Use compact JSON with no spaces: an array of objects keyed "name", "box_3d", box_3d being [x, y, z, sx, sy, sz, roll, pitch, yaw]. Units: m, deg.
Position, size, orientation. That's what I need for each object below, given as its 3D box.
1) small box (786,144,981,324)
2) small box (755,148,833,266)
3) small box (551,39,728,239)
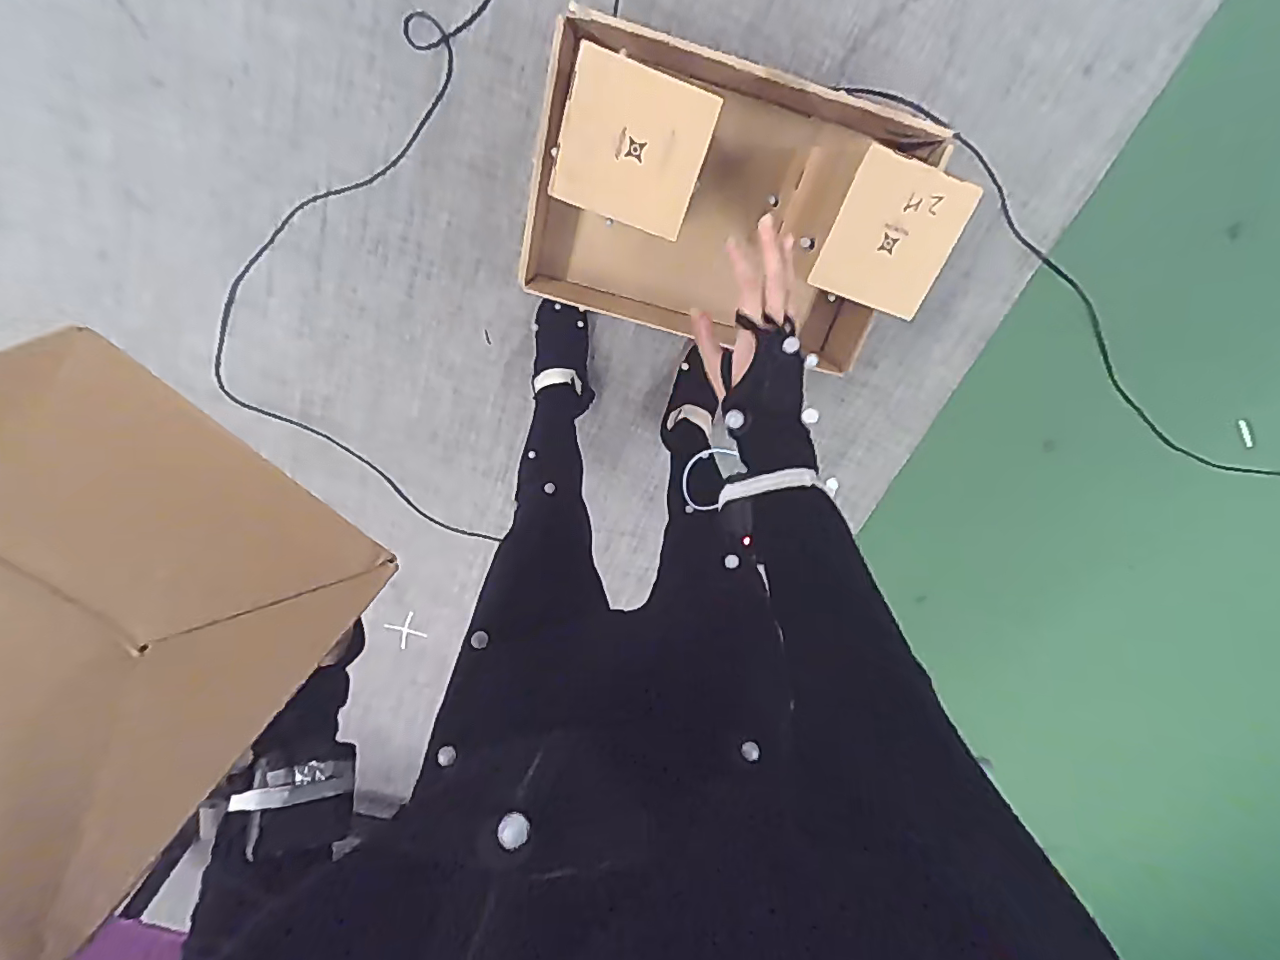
[{"name":"small box","box_3d":[0.329,-0.351,0.777,0.168,0.176,0.179,17,117,-10]},{"name":"small box","box_3d":[0.315,-0.436,0.919,0.179,0.176,0.168,17,117,-9]},{"name":"small box","box_3d":[-0.005,-0.444,0.727,0.179,0.176,0.168,17,119,-10]}]
